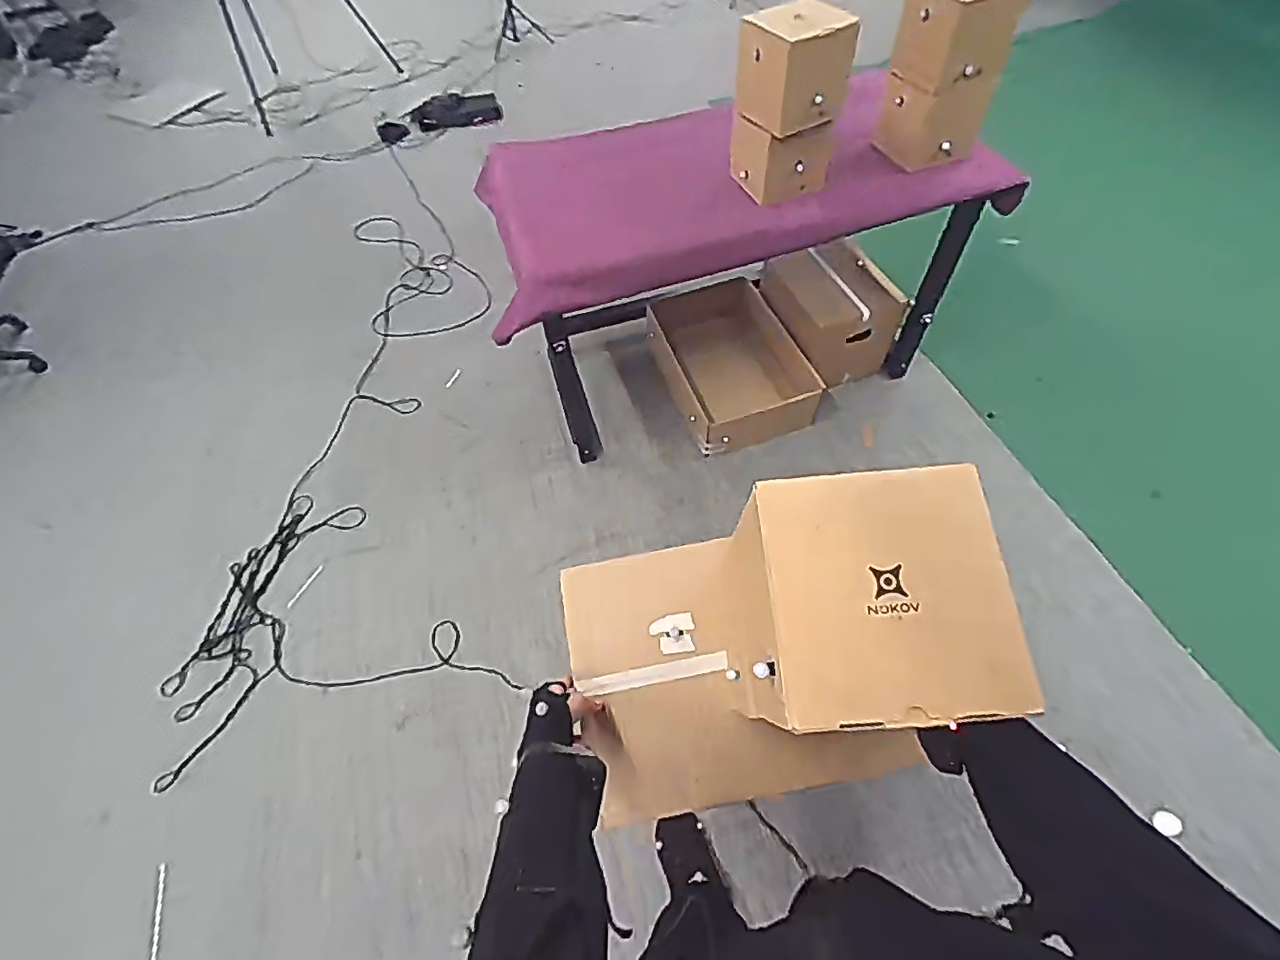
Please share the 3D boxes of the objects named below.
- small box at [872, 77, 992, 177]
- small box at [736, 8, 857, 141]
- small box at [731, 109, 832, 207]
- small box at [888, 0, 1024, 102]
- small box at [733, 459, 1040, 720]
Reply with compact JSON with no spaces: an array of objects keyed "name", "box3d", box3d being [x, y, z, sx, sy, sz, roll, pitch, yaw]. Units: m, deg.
[{"name":"small box","box3d":[0.695,-0.872,1.315,0.168,0.176,0.179,-17,56,-5]},{"name":"small box","box3d":[0.315,-0.847,1.135,0.168,0.176,0.179,-26,57,-11]},{"name":"small box","box3d":[0.327,-0.775,1.285,0.168,0.176,0.179,-20,56,-8]},{"name":"small box","box3d":[0.676,-0.963,1.181,0.168,0.176,0.179,-19,56,-6]},{"name":"small box","box3d":[0.175,0.097,0.452,0.168,0.176,0.179,-4,71,2]}]
